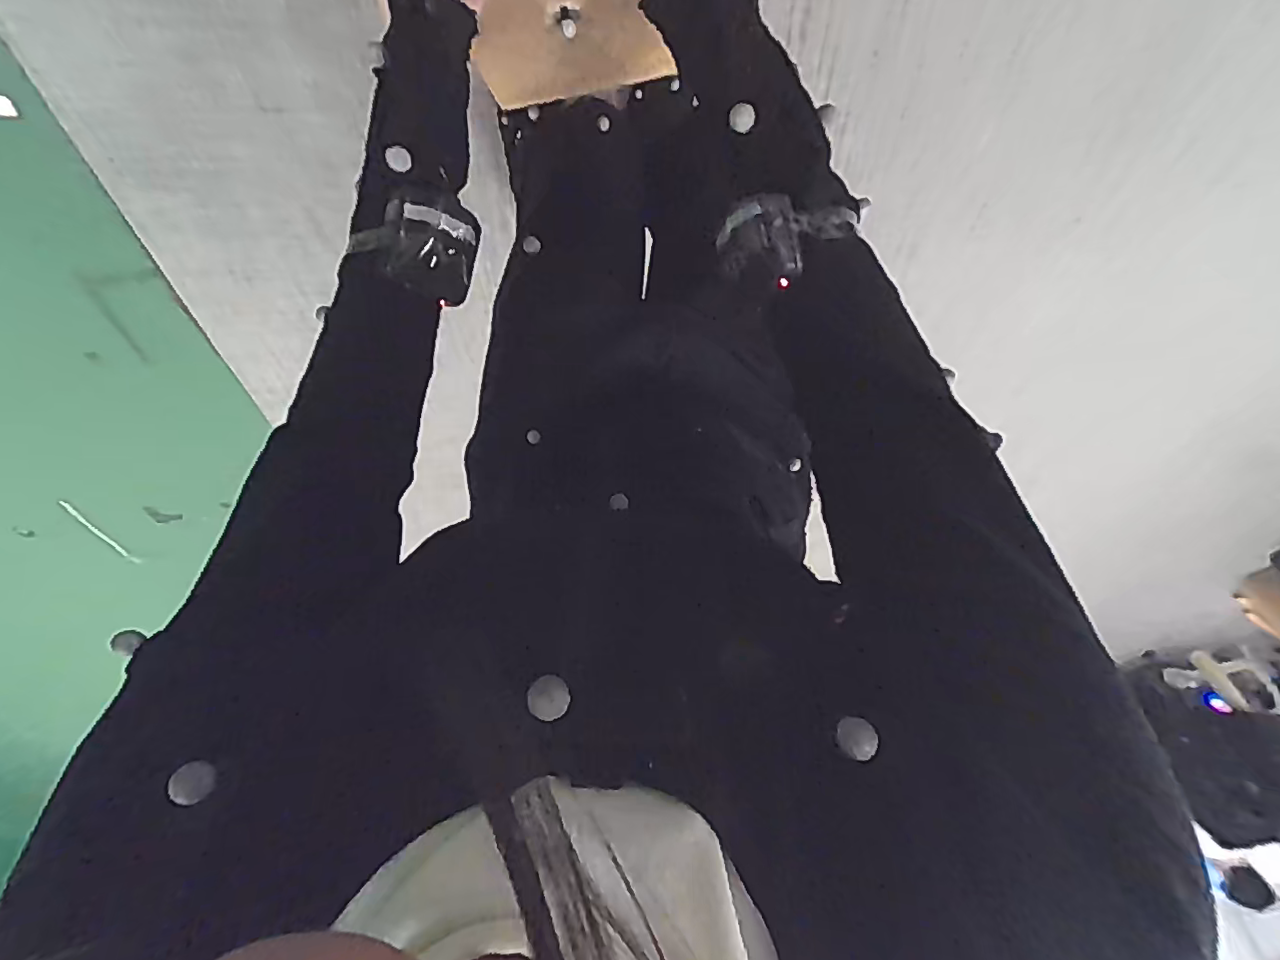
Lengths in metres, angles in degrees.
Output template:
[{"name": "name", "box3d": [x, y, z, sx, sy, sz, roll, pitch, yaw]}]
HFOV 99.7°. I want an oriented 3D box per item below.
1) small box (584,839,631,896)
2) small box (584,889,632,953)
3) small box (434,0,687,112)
[{"name": "small box", "box3d": [-0.130, 1.553, 2.165, 0.168, 0.176, 0.179, -6, 138, -1]}, {"name": "small box", "box3d": [-0.122, 1.672, 2.050, 0.179, 0.176, 0.168, -5, 139, -4]}, {"name": "small box", "box3d": [-0.060, -0.419, 0.414, 0.179, 0.176, 0.168, -10, 101, 5]}]
